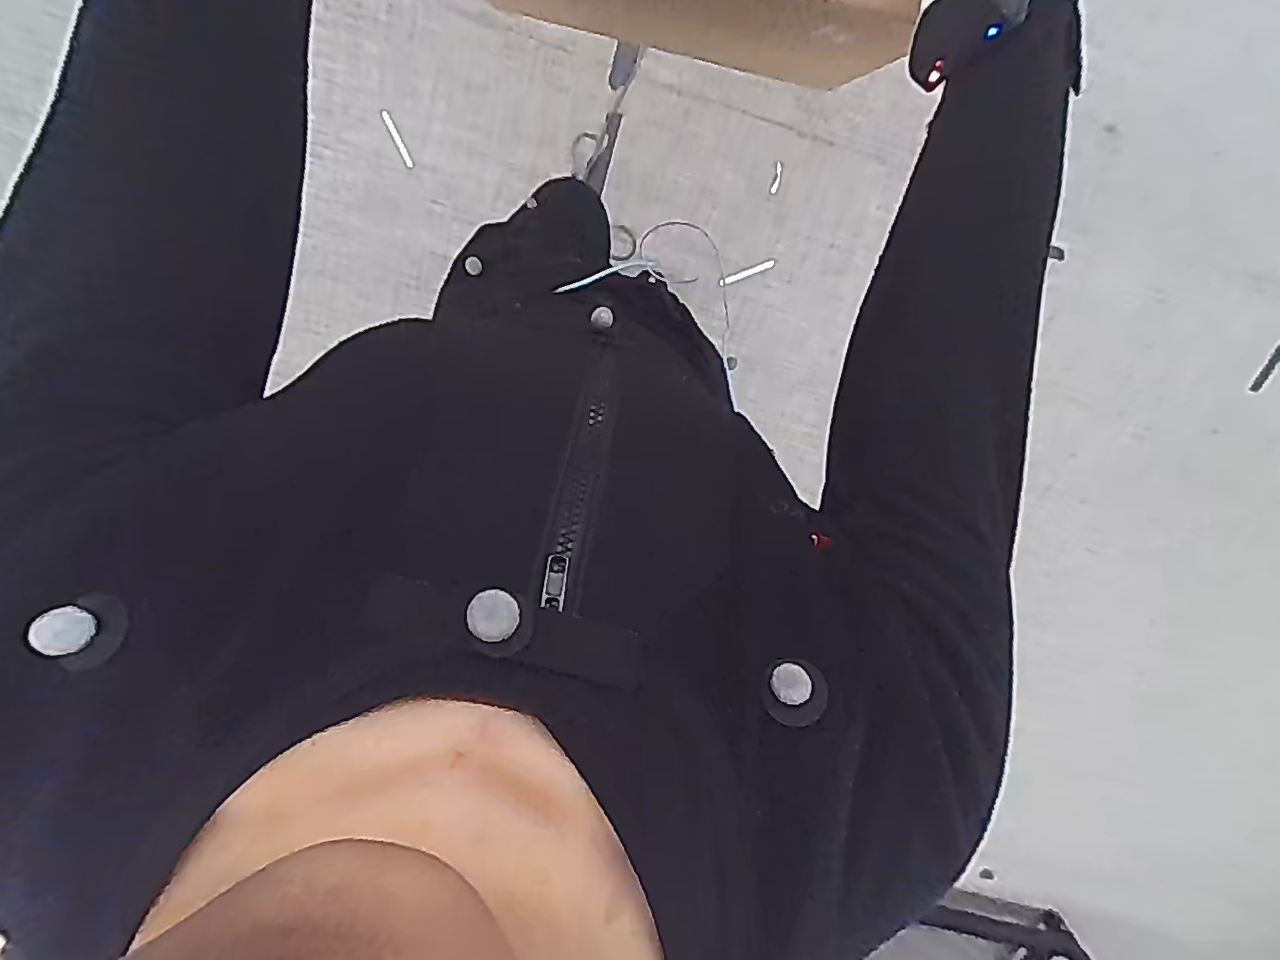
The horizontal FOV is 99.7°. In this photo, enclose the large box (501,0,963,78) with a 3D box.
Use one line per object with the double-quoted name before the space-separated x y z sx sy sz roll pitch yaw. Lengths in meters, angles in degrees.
"large box" 0.059 -0.560 0.420 0.408 0.320 0.320 10 121 -4
